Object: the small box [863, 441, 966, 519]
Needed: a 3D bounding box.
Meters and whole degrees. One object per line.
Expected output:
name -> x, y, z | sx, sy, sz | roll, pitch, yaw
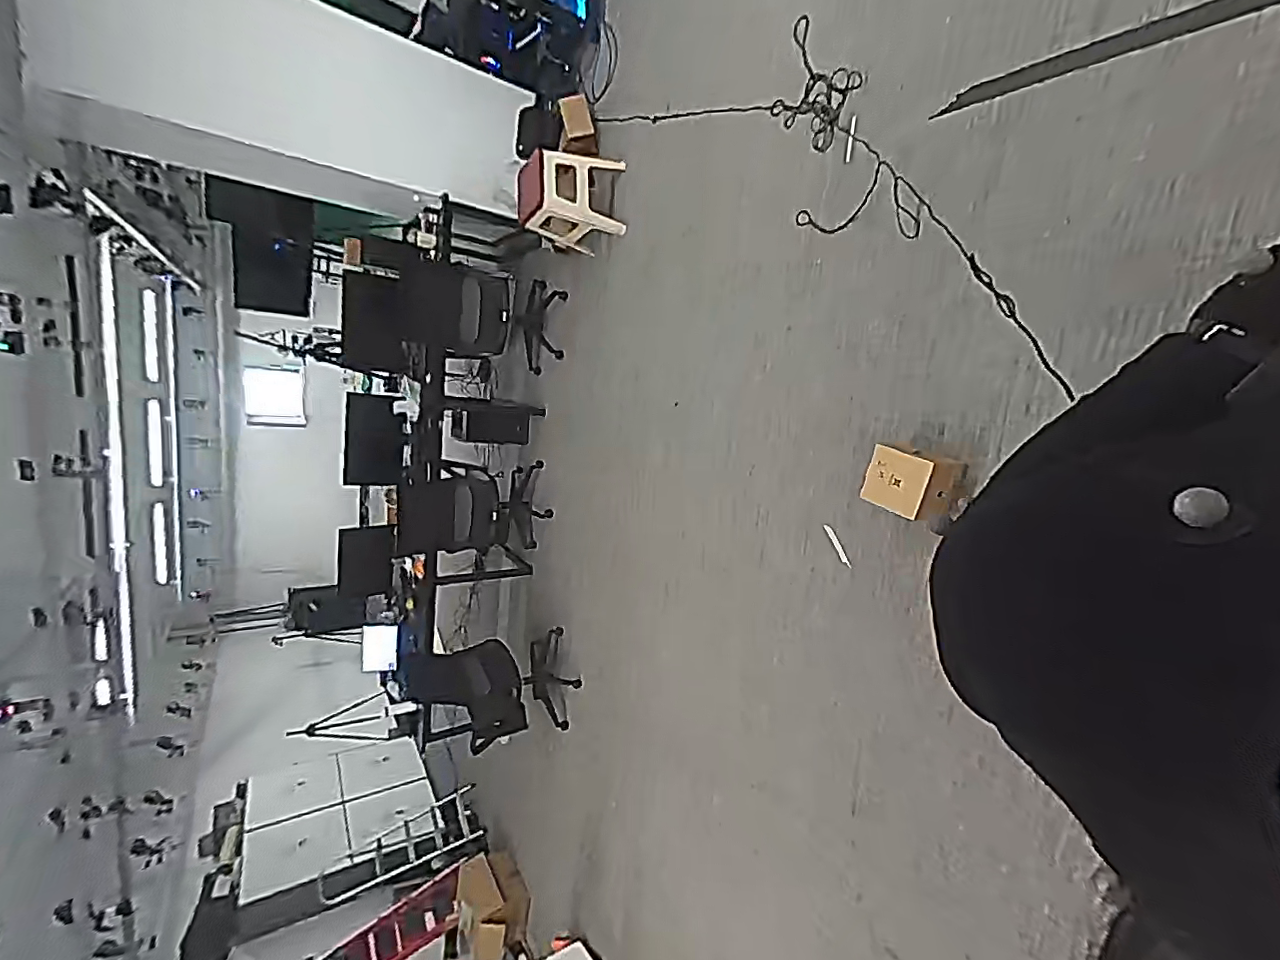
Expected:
small box -> 0.765, -0.005, 1.505 | 0.179, 0.176, 0.168 | 34, 118, 51
